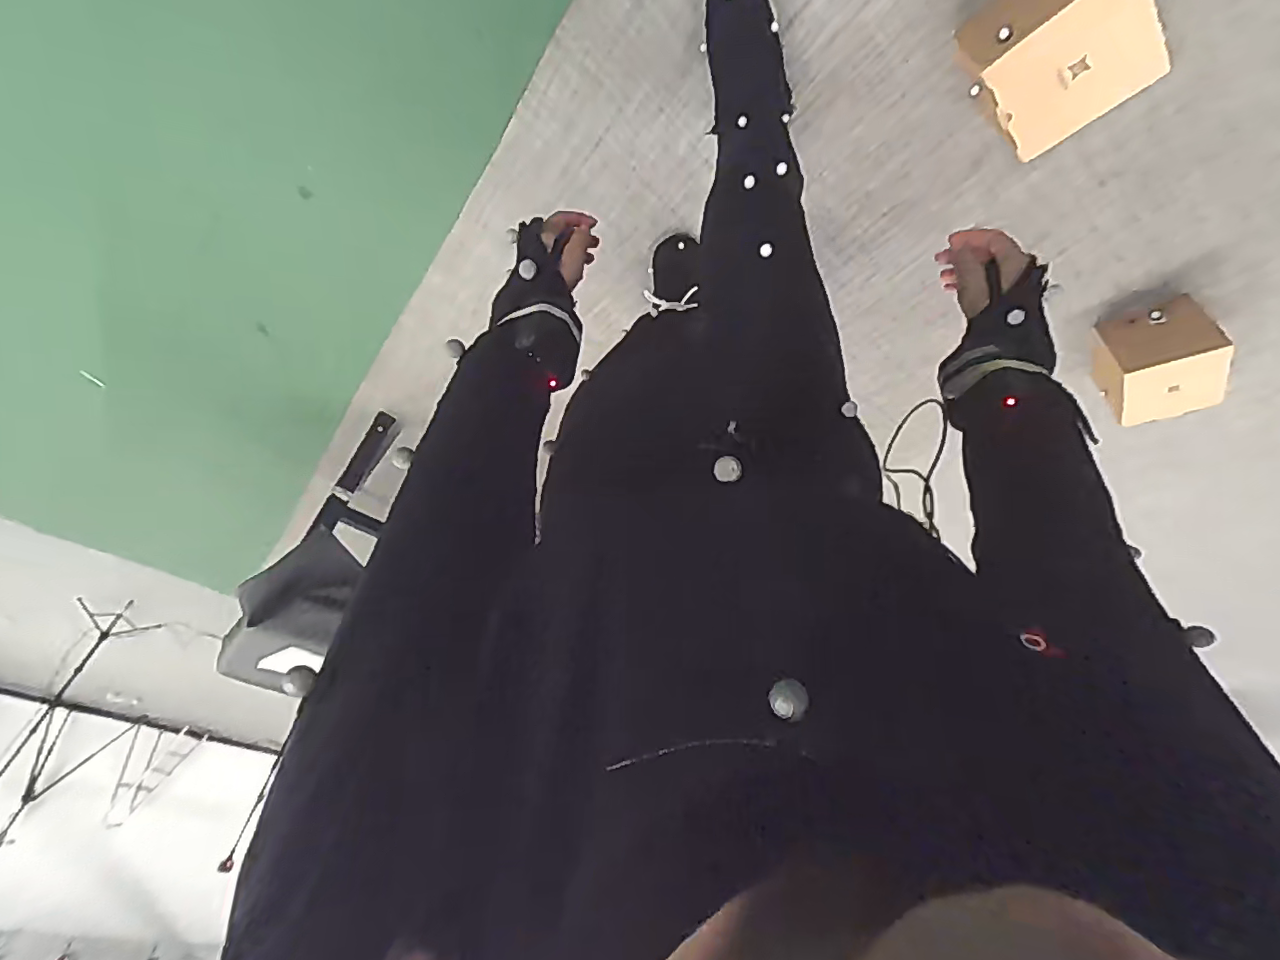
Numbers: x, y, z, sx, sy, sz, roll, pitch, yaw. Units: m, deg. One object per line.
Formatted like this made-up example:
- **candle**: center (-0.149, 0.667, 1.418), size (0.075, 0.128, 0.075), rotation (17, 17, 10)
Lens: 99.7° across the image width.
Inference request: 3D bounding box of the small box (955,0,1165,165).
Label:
- **small box**: center (0.591, -0.613, 0.777), size (0.168, 0.176, 0.179), rotation (34, 137, -30)

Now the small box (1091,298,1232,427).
- **small box**: center (1.090, -0.248, 1.147), size (0.168, 0.176, 0.179), rotation (-18, 134, 29)
